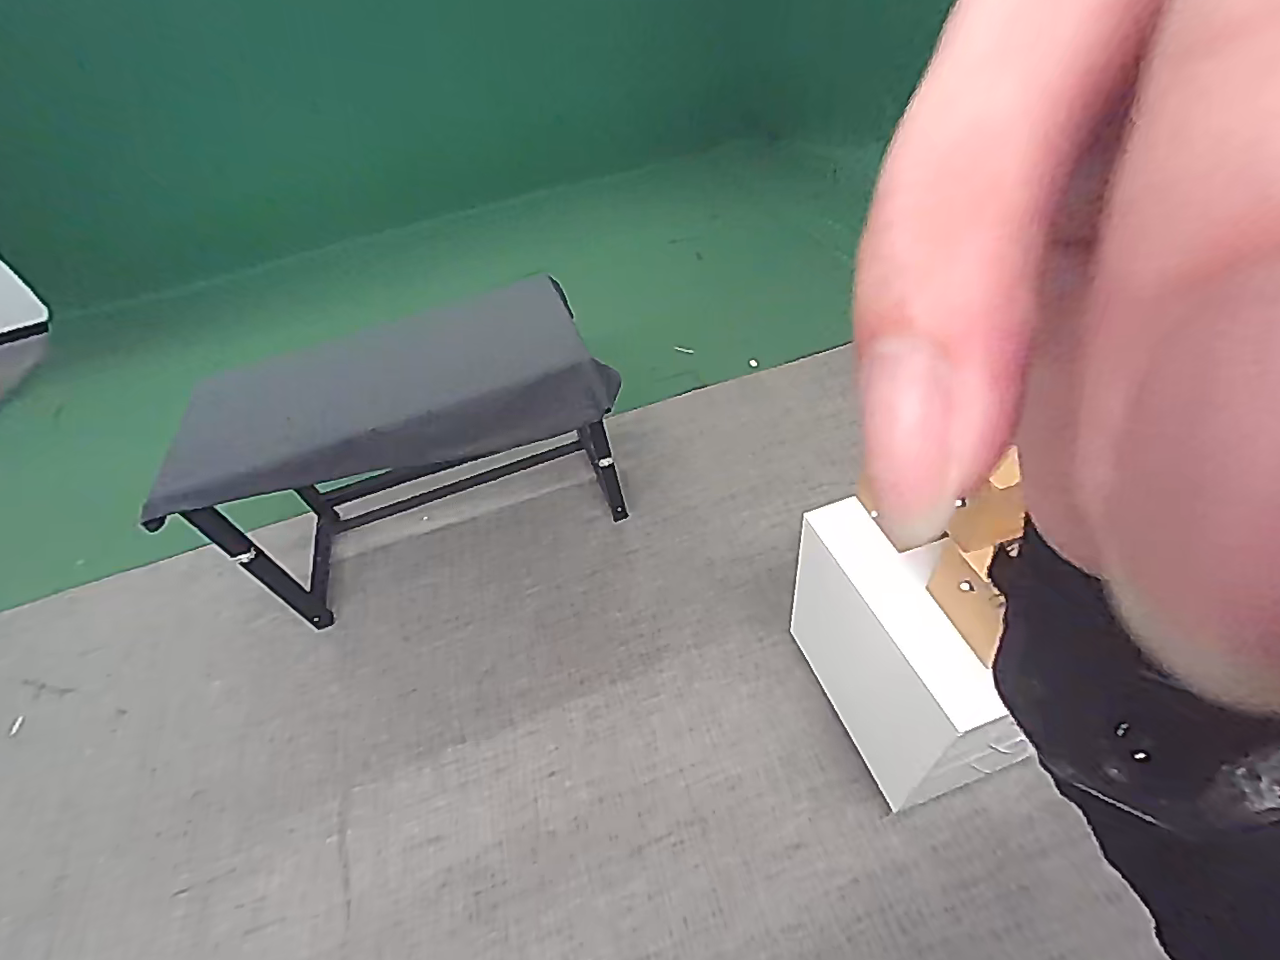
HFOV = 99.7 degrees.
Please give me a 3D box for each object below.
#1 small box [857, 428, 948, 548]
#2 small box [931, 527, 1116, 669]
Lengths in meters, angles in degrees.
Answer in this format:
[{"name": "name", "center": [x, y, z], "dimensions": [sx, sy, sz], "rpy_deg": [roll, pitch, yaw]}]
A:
[{"name": "small box", "center": [0.575, 0.020, 1.116], "dimensions": [0.168, 0.176, 0.179], "rpy_deg": [-18, 48, -6]}, {"name": "small box", "center": [0.641, 0.195, 0.936], "dimensions": [0.168, 0.176, 0.179], "rpy_deg": [-17, 46, -4]}]
